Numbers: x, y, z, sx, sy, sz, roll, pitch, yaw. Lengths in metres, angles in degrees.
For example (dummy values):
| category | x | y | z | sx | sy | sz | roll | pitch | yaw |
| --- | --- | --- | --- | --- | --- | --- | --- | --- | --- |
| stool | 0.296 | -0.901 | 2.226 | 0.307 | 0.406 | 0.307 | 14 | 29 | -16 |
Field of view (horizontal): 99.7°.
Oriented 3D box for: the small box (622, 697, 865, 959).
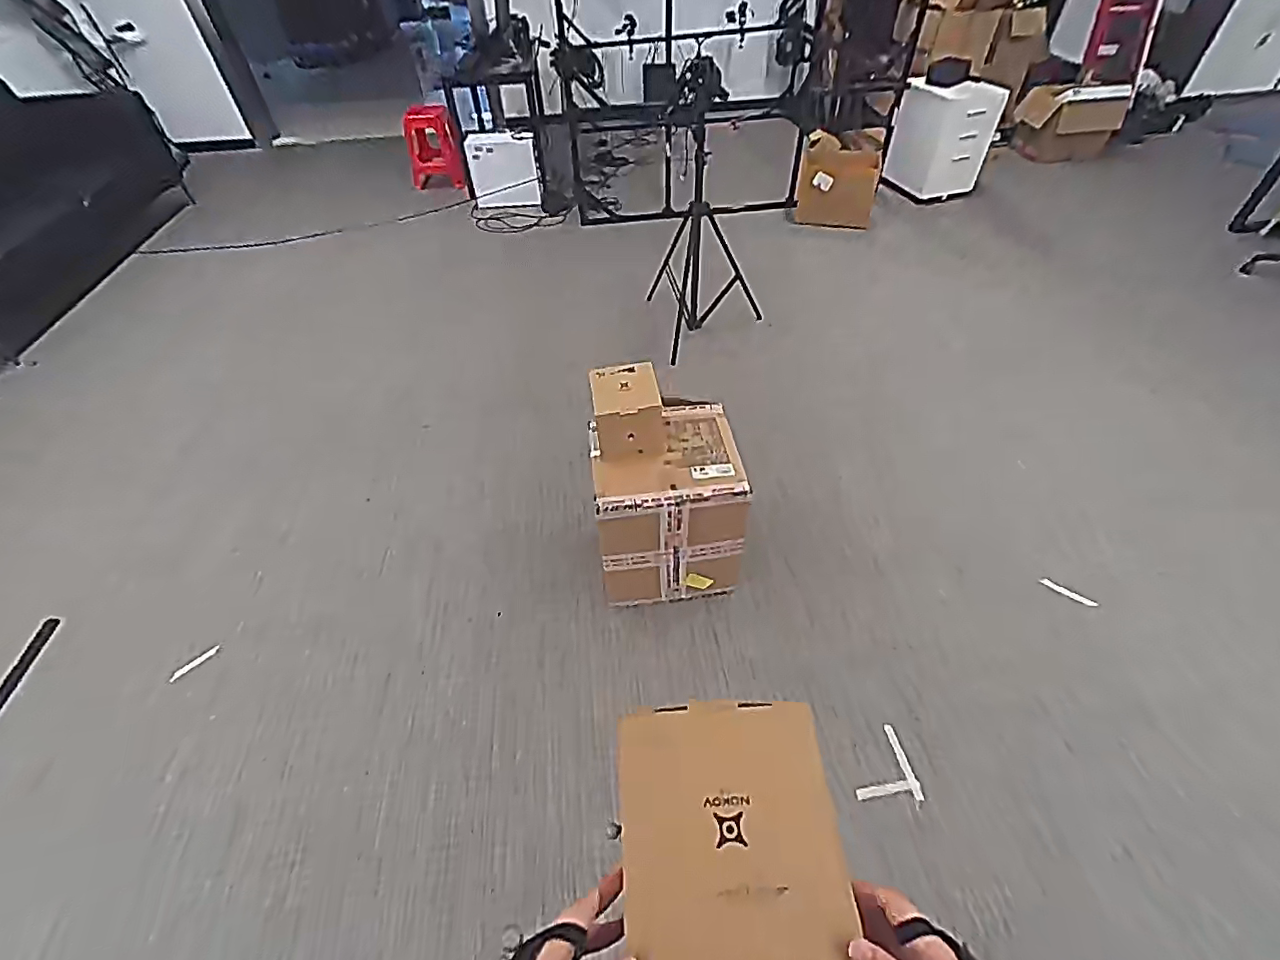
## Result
| category | x | y | z | sx | sy | sz | roll | pitch | yaw |
| --- | --- | --- | --- | --- | --- | --- | --- | --- | --- |
| small box | 0.067 | 0.310 | 0.478 | 0.168 | 0.176 | 0.179 | -2 | 51 | -2 |

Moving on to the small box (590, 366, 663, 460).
| category | x | y | z | sx | sy | sz | roll | pitch | yaw |
| --- | --- | --- | --- | --- | --- | --- | --- | --- | --- |
| small box | -0.033 | -0.166 | 1.399 | 0.168 | 0.176 | 0.179 | -8 | 51 | -3 |
